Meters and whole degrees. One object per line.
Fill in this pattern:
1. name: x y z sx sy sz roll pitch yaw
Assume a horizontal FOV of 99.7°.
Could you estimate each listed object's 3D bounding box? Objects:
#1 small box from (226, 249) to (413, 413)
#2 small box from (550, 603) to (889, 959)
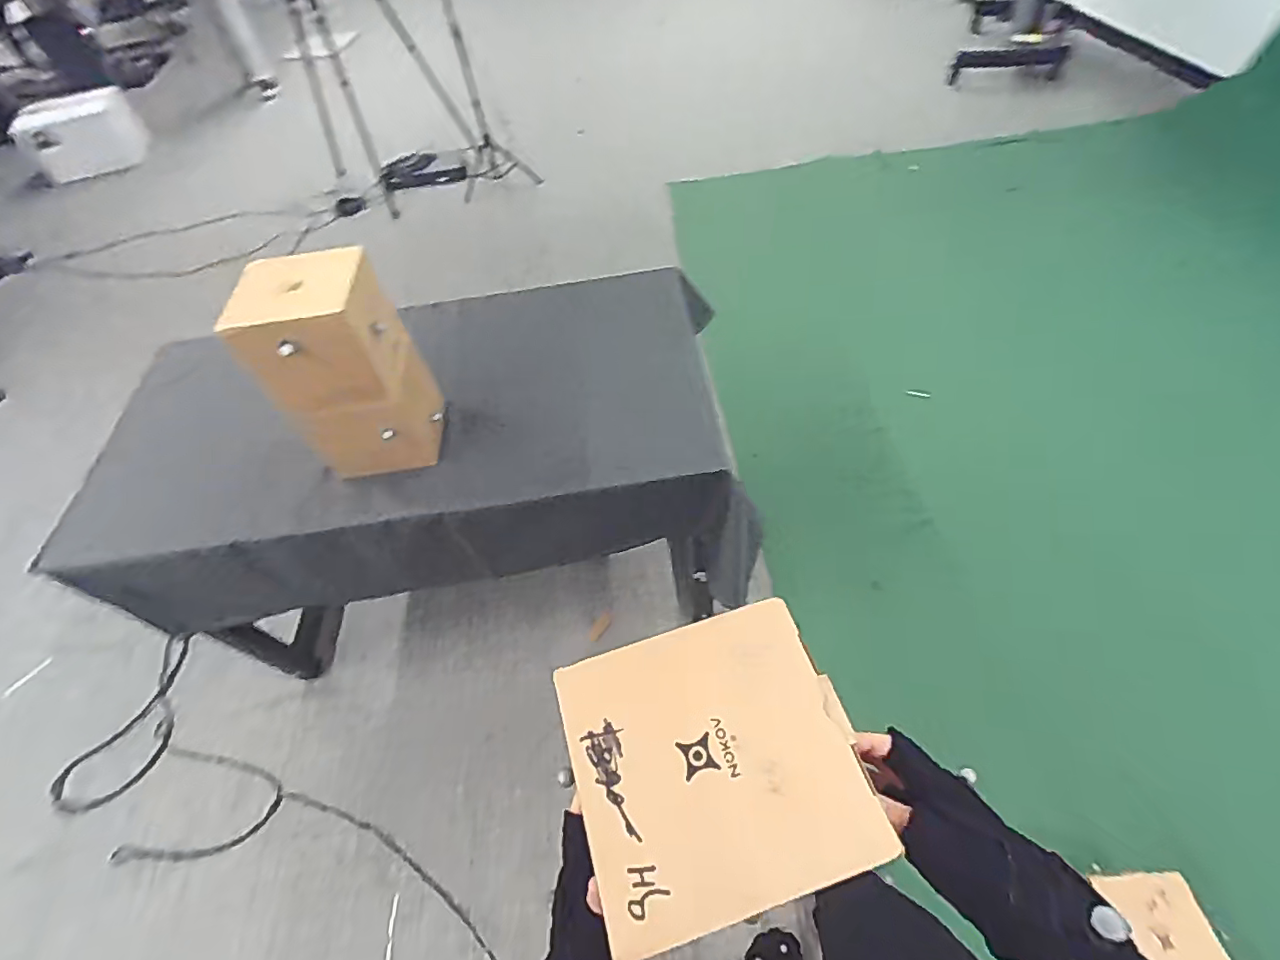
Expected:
1. small box: -0.475 -0.226 0.838 0.179 0.176 0.168 -9 53 0
2. small box: 0.045 0.221 0.412 0.179 0.176 0.168 -16 56 -7
